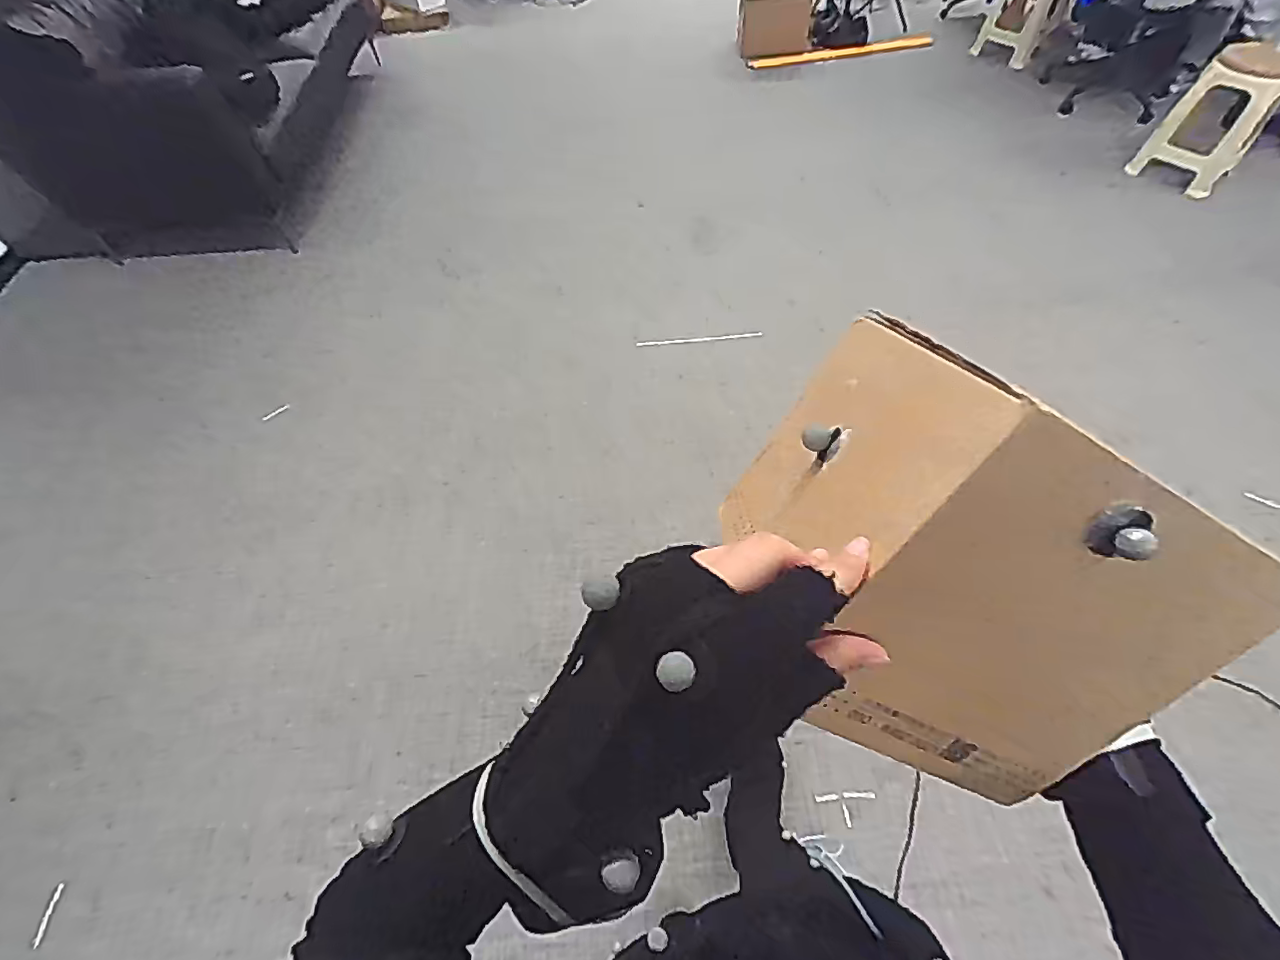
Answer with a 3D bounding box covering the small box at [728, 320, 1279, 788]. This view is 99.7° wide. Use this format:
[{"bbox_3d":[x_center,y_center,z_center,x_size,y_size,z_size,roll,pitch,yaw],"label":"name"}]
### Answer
[{"bbox_3d":[0.168,0.034,0.320,0.168,0.176,0.179,27,24,-12],"label":"small box"}]
